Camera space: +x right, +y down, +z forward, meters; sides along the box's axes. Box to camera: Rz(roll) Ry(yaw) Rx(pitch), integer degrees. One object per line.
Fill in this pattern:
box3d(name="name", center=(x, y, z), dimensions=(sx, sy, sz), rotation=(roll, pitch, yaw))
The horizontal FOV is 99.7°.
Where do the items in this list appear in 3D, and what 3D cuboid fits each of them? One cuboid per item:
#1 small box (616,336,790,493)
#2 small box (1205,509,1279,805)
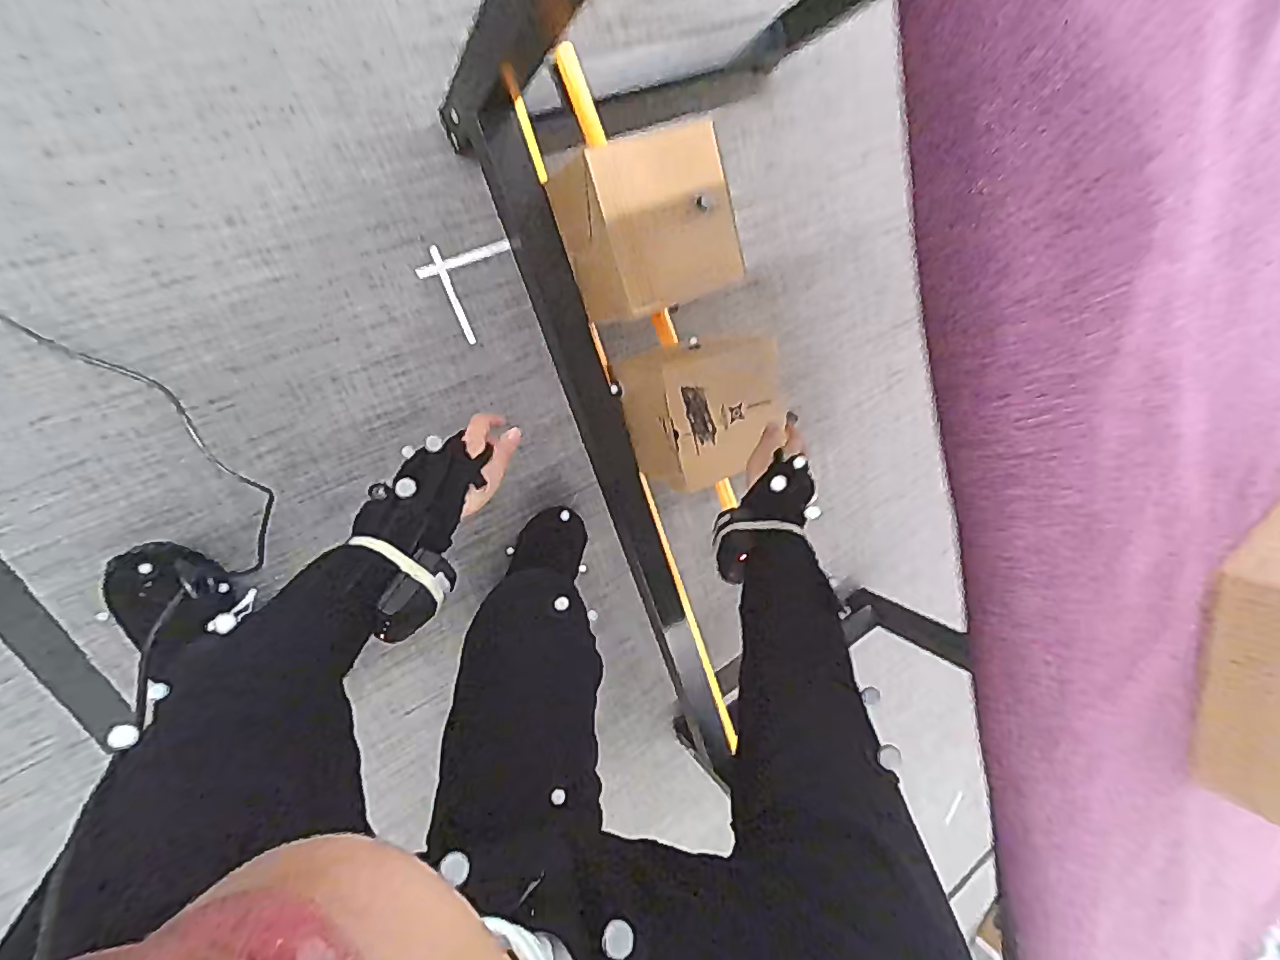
box3d(name="small box", center=(0.080, -0.099, 0.759), dimensions=(0.179, 0.176, 0.168), rotation=(-21, 112, -22))
box3d(name="small box", center=(0.450, 0.104, 0.287), dimensions=(0.168, 0.176, 0.179), rotation=(-27, 113, -22))
